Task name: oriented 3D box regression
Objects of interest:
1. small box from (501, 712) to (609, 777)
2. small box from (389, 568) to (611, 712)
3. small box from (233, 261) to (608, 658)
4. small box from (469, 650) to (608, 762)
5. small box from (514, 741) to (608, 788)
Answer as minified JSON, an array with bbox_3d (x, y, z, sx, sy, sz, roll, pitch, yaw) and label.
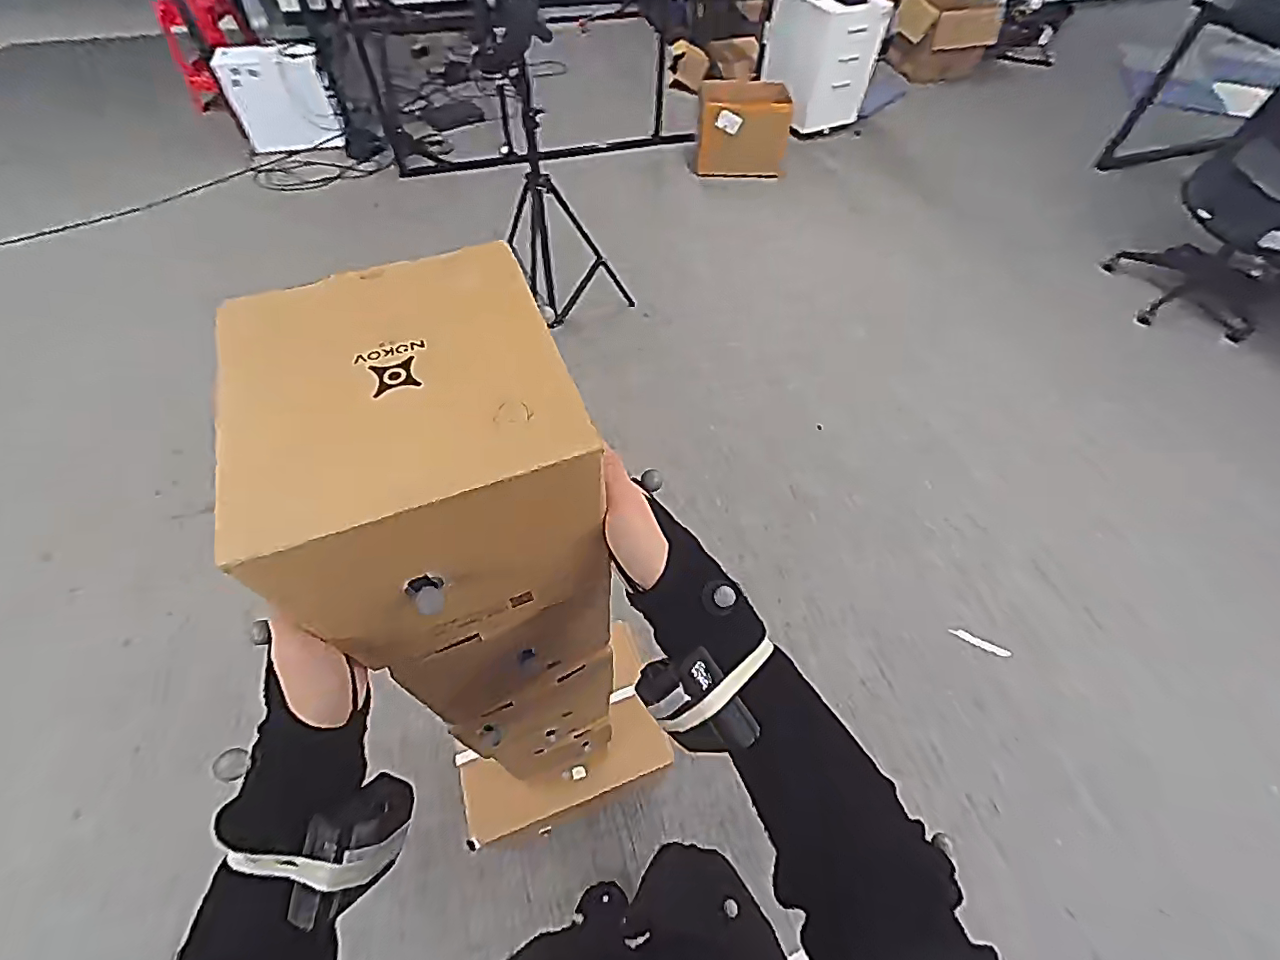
[{"bbox_3d":[-0.153,0.367,0.889,0.168,0.176,0.179,-17,57,-15],"label":"small box"},{"bbox_3d":[-0.136,0.086,0.486,0.168,0.176,0.179,-24,61,-20],"label":"small box"},{"bbox_3d":[-0.123,-0.003,0.348,0.168,0.176,0.179,-18,59,-14],"label":"small box"},{"bbox_3d":[-0.151,0.271,0.756,0.168,0.176,0.179,-21,59,-18],"label":"small box"},{"bbox_3d":[-0.165,0.456,1.024,0.168,0.176,0.179,-17,59,-13],"label":"small box"}]
